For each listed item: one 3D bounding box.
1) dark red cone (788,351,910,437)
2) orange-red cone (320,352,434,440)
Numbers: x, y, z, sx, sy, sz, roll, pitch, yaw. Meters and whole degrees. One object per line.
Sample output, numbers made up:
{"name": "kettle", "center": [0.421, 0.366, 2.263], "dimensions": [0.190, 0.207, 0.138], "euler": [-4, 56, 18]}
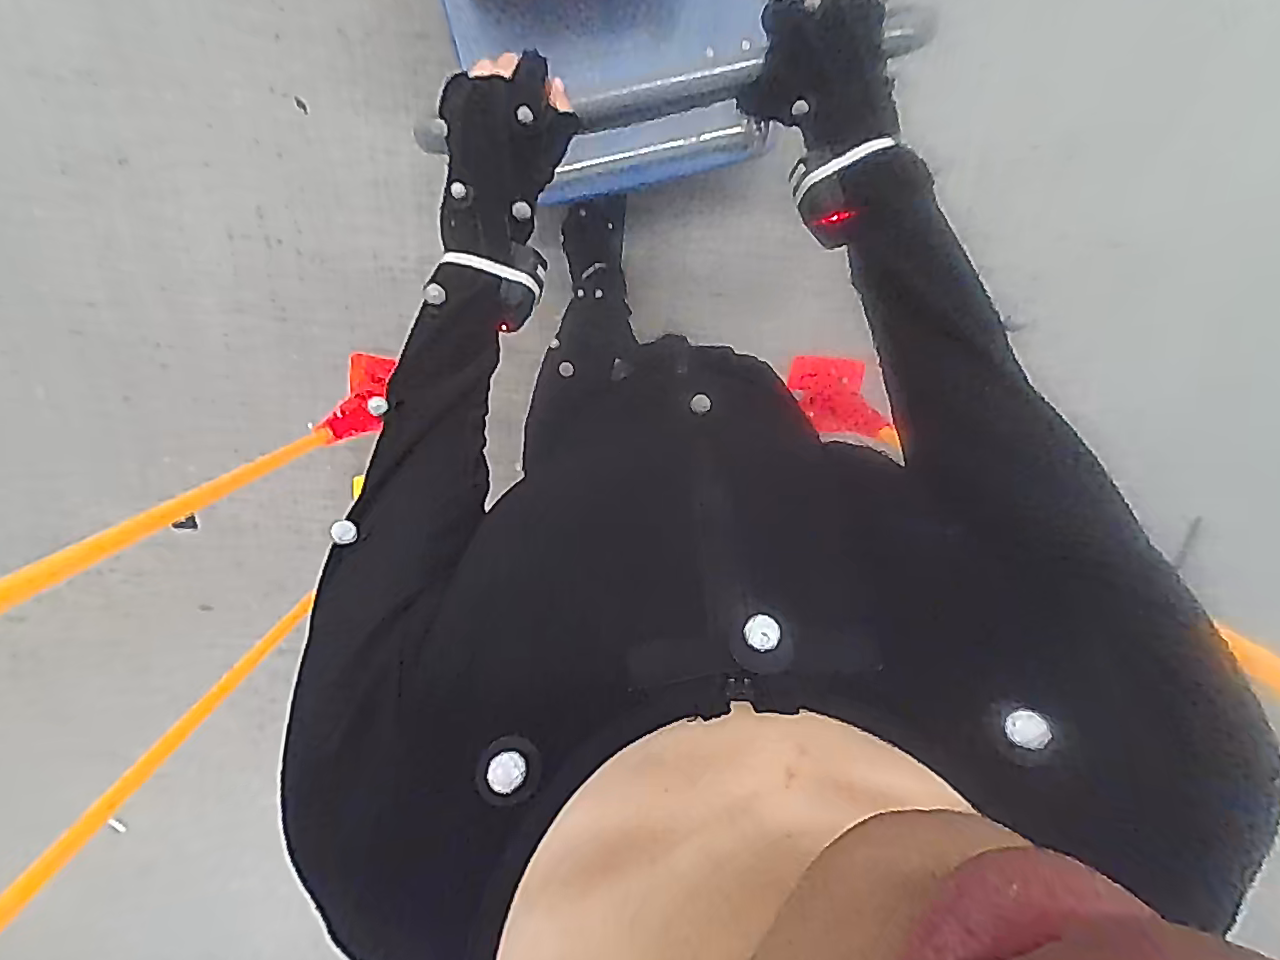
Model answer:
{"name": "dark red cone", "center": [0.506, -0.171, 1.261], "dimensions": [0.201, 0.394, 0.202], "euler": [3, 111, -6]}
{"name": "orange-red cone", "center": [-0.628, -0.159, 1.235], "dimensions": [0.198, 0.360, 0.199], "euler": [10, 109, -7]}
